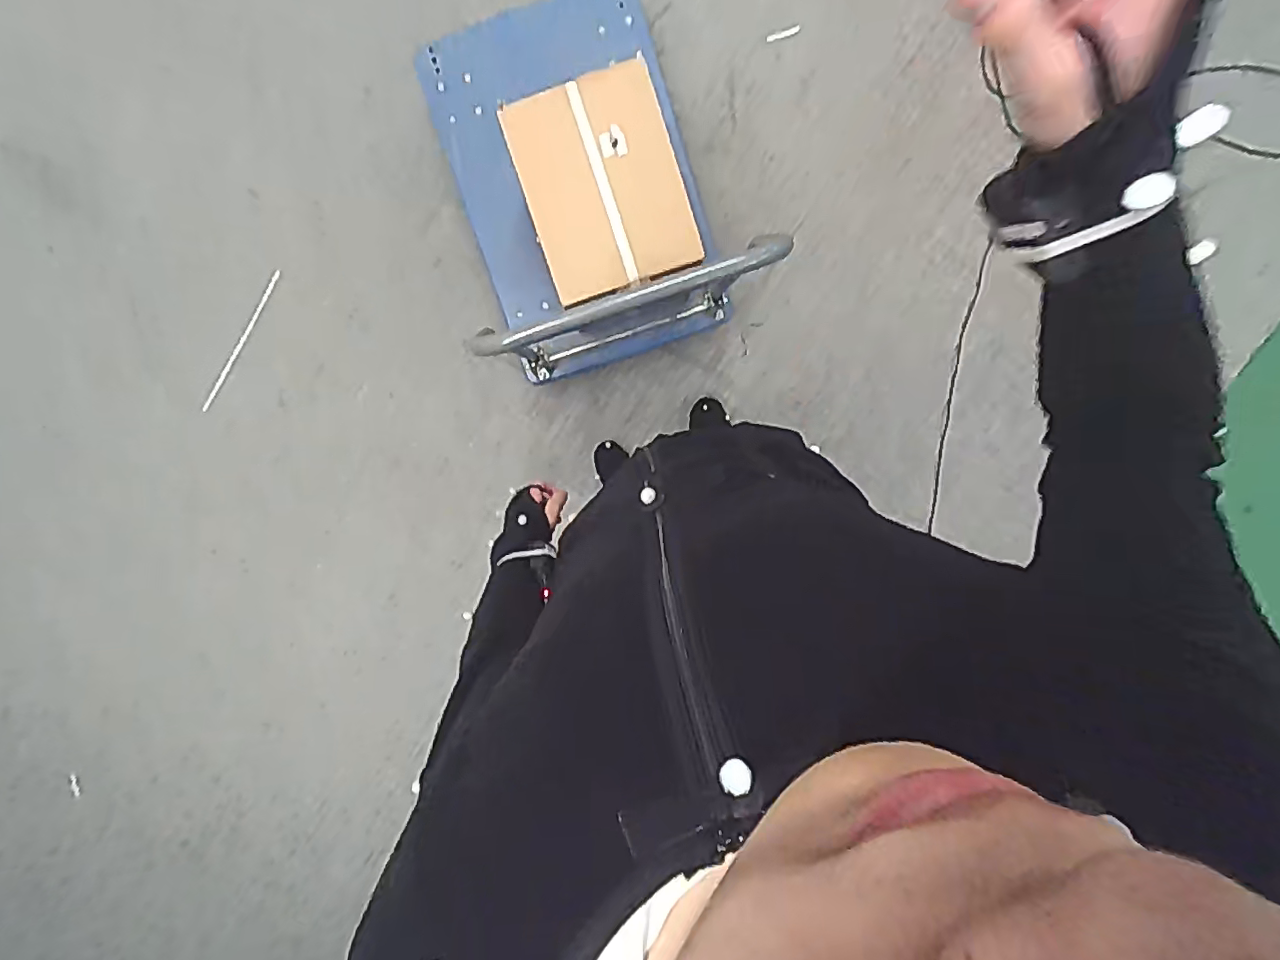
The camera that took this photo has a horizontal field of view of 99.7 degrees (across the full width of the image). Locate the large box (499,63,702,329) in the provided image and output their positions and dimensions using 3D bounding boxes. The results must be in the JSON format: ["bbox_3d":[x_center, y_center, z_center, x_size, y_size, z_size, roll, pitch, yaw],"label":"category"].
[{"bbox_3d":[-0.076,-0.615,1.251,0.320,0.320,0.408,-18,95,1],"label":"large box"}]
